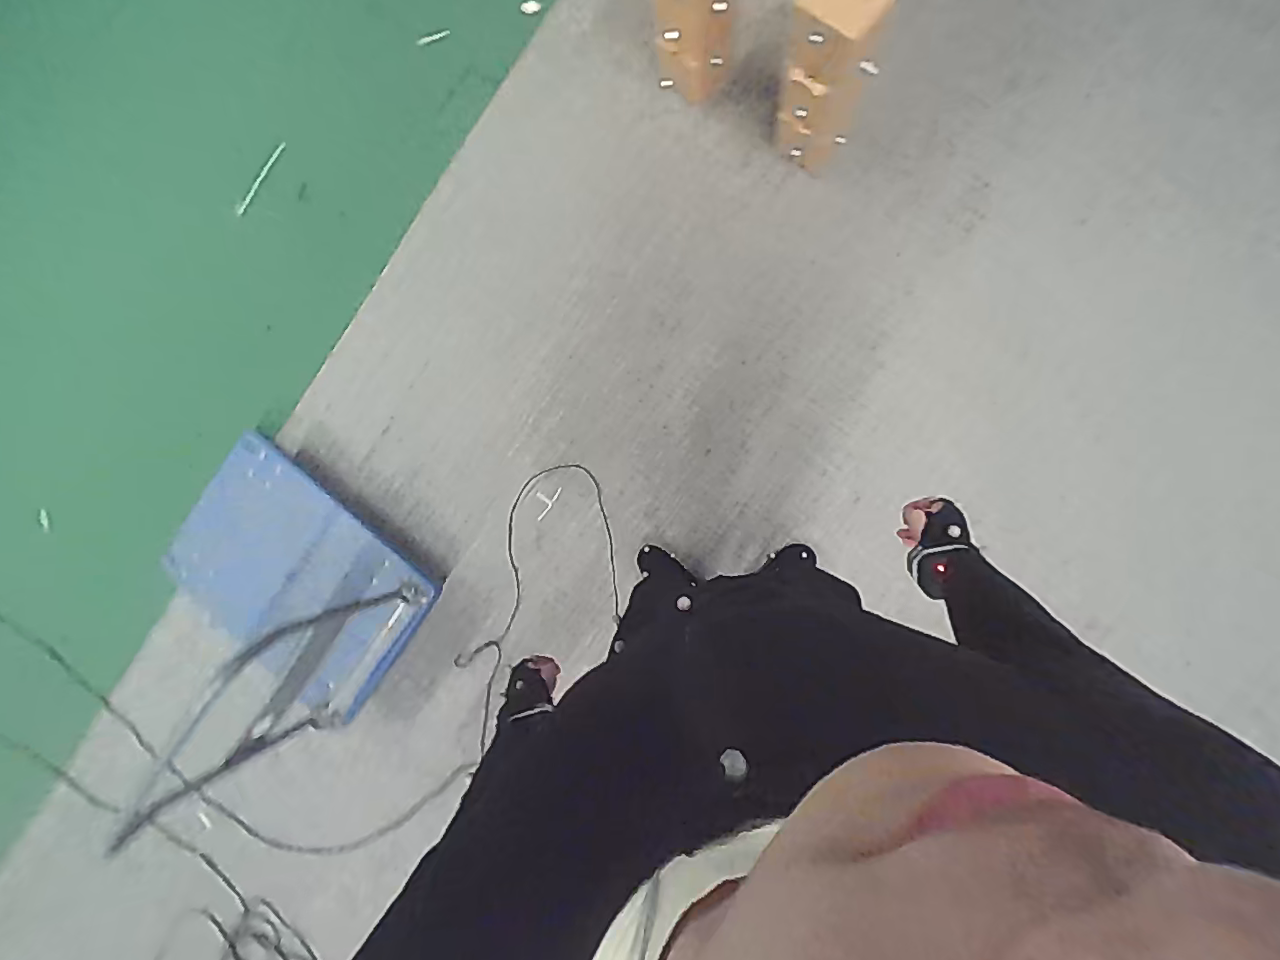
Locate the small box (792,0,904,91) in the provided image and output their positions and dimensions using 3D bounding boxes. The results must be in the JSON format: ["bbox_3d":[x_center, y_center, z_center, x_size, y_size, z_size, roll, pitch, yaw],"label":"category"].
[{"bbox_3d":[0.469,-1.051,1.236,0.179,0.176,0.168,44,96,9],"label":"small box"}]

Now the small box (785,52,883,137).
[{"bbox_3d":[0.493,-1.048,1.398,0.168,0.176,0.179,44,95,10],"label":"small box"}]

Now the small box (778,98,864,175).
[{"bbox_3d":[0.516,-1.032,1.560,0.168,0.176,0.179,40,95,9],"label":"small box"}]

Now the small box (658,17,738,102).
[{"bbox_3d":[0.180,-1.302,1.633,0.168,0.176,0.179,42,94,9],"label":"small box"}]
